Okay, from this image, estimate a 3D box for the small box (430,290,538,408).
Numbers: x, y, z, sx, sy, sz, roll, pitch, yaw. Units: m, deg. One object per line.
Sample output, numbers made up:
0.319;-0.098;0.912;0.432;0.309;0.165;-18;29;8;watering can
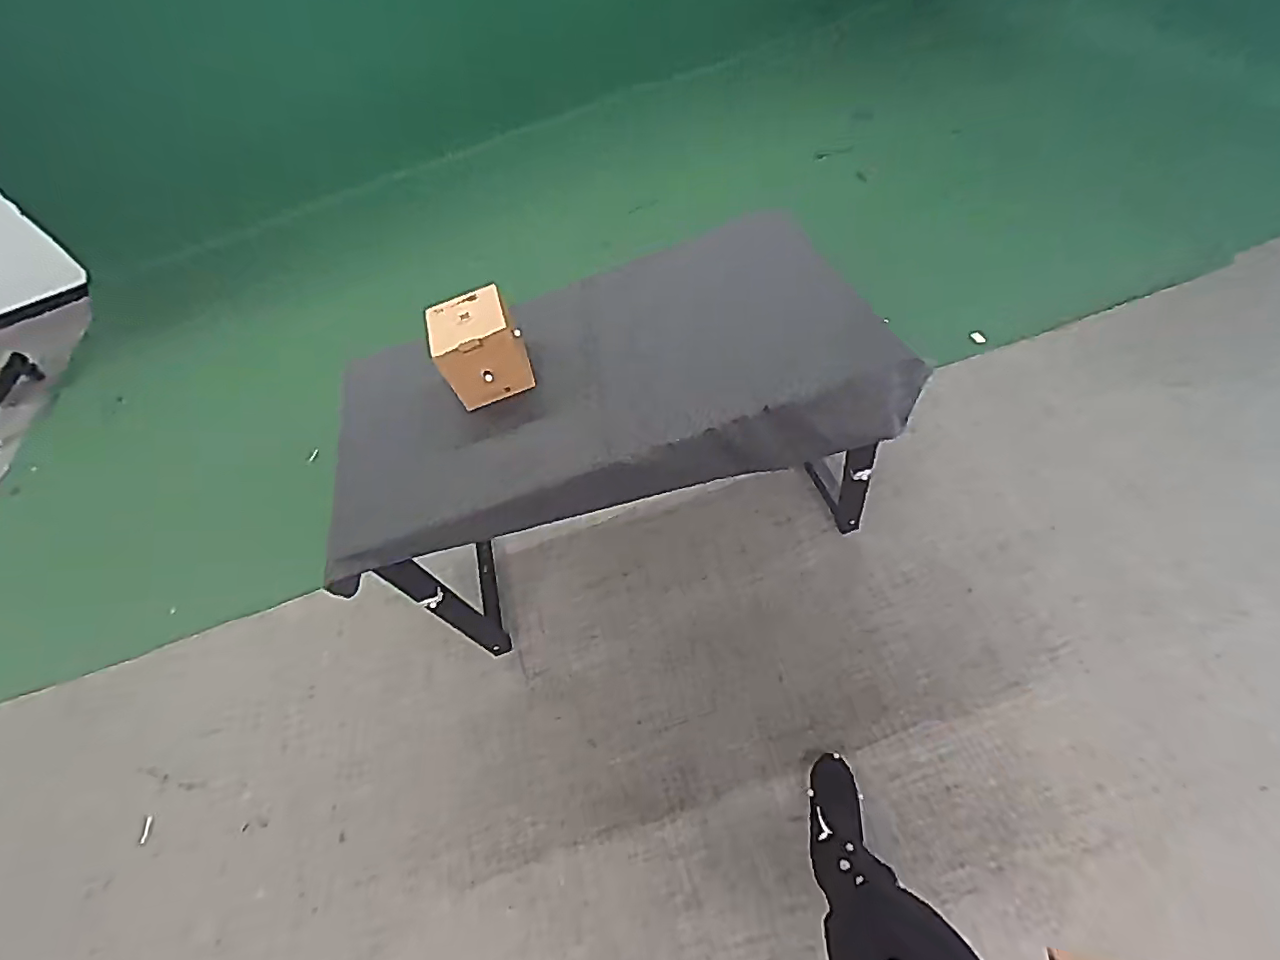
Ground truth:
-0.346;-0.284;1.214;0.168;0.176;0.179;-24;53;-2;small box
